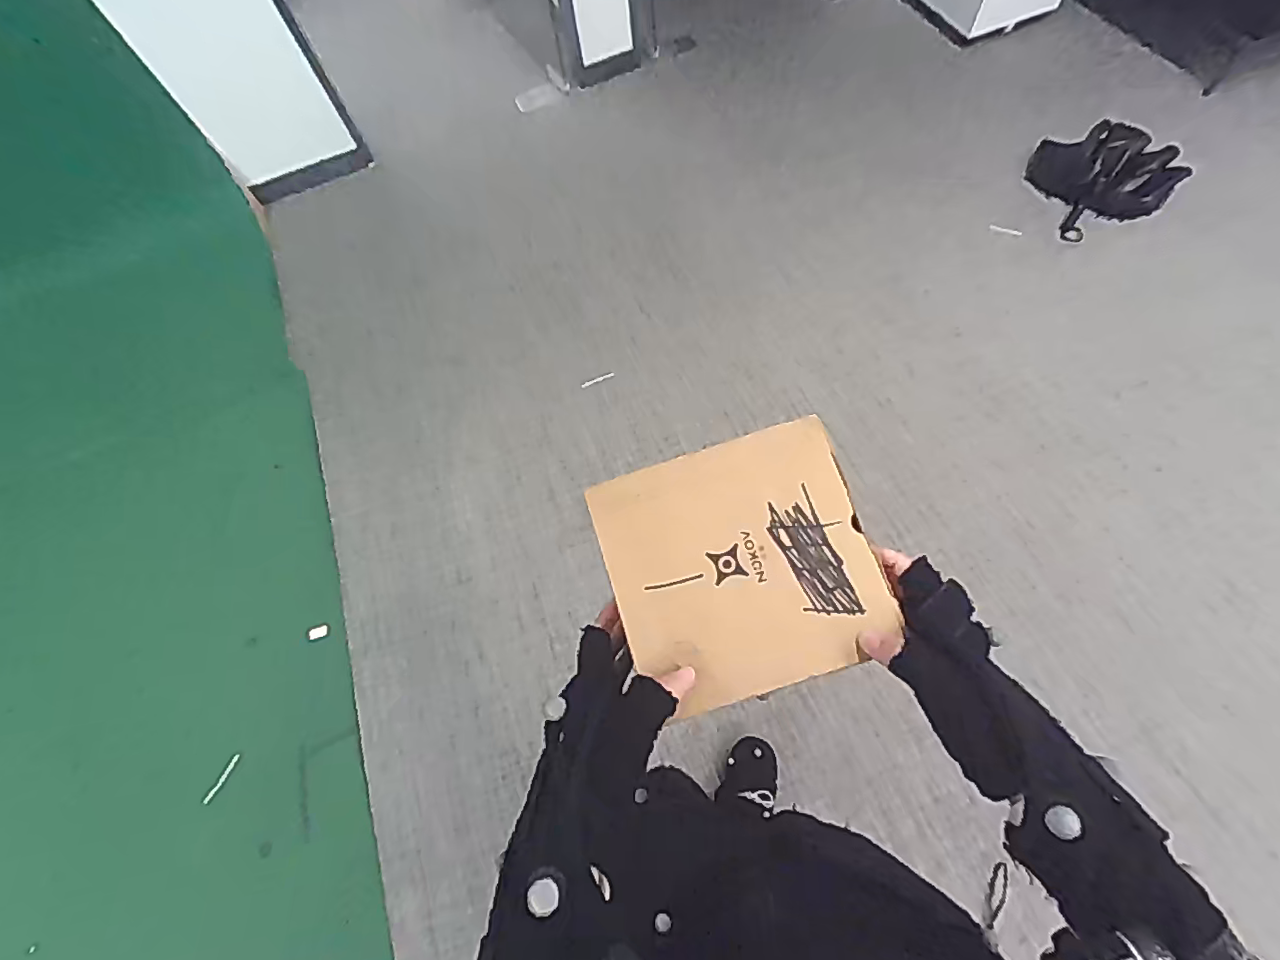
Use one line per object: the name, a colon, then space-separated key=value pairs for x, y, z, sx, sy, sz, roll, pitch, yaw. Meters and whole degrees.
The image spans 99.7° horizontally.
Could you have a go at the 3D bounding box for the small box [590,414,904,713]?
small box: x=0.073 y=0.069 z=0.444 sx=0.179 sy=0.176 sz=0.168 roll=-18 pitch=76 yaw=1
